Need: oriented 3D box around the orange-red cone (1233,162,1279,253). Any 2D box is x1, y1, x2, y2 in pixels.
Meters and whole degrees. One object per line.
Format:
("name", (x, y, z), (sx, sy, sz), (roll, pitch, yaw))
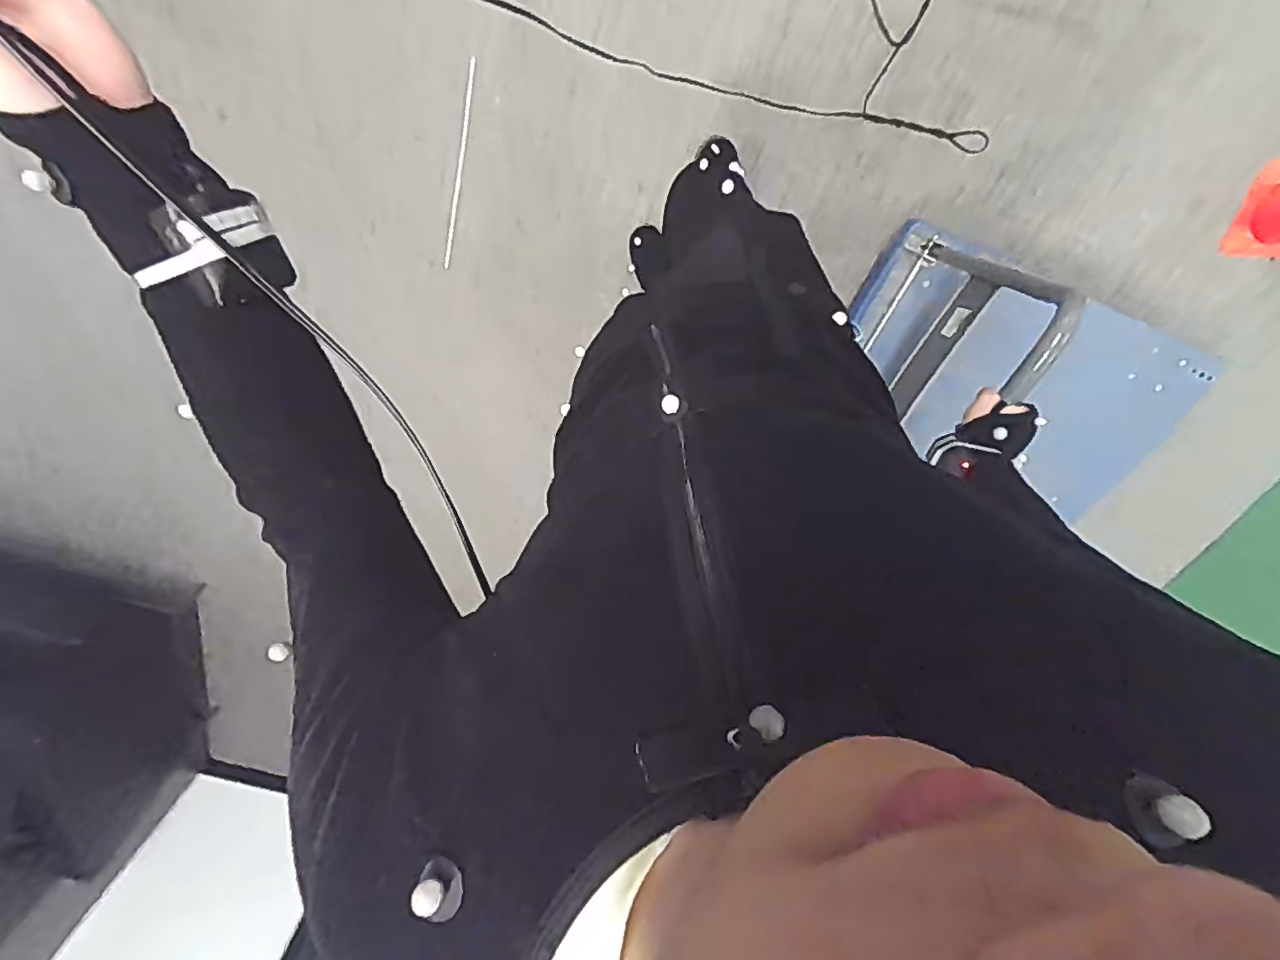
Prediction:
("orange-red cone", (1.516, -0.554, 1.110), (0.198, 0.360, 0.199), (5, 119, 1))
